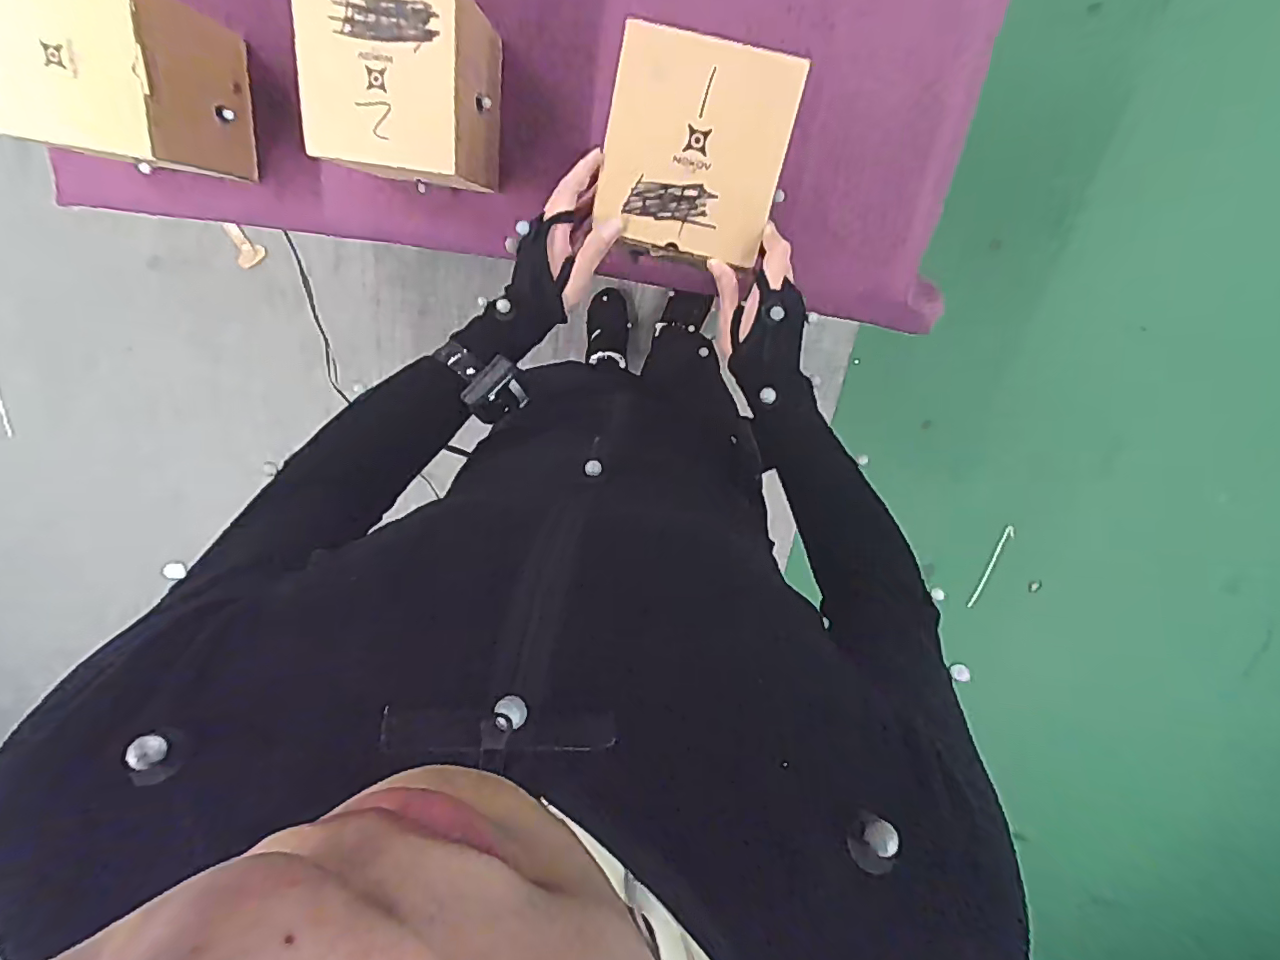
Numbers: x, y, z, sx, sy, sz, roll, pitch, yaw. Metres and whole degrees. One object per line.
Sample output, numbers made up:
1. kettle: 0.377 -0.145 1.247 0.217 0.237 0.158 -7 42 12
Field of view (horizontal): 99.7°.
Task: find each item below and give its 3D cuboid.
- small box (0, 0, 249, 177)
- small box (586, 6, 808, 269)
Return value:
1. small box: -0.604 -0.465 0.627 0.179 0.176 0.168 9 112 -2
2. small box: 0.053 -0.326 0.556 0.168 0.176 0.179 14 109 1
